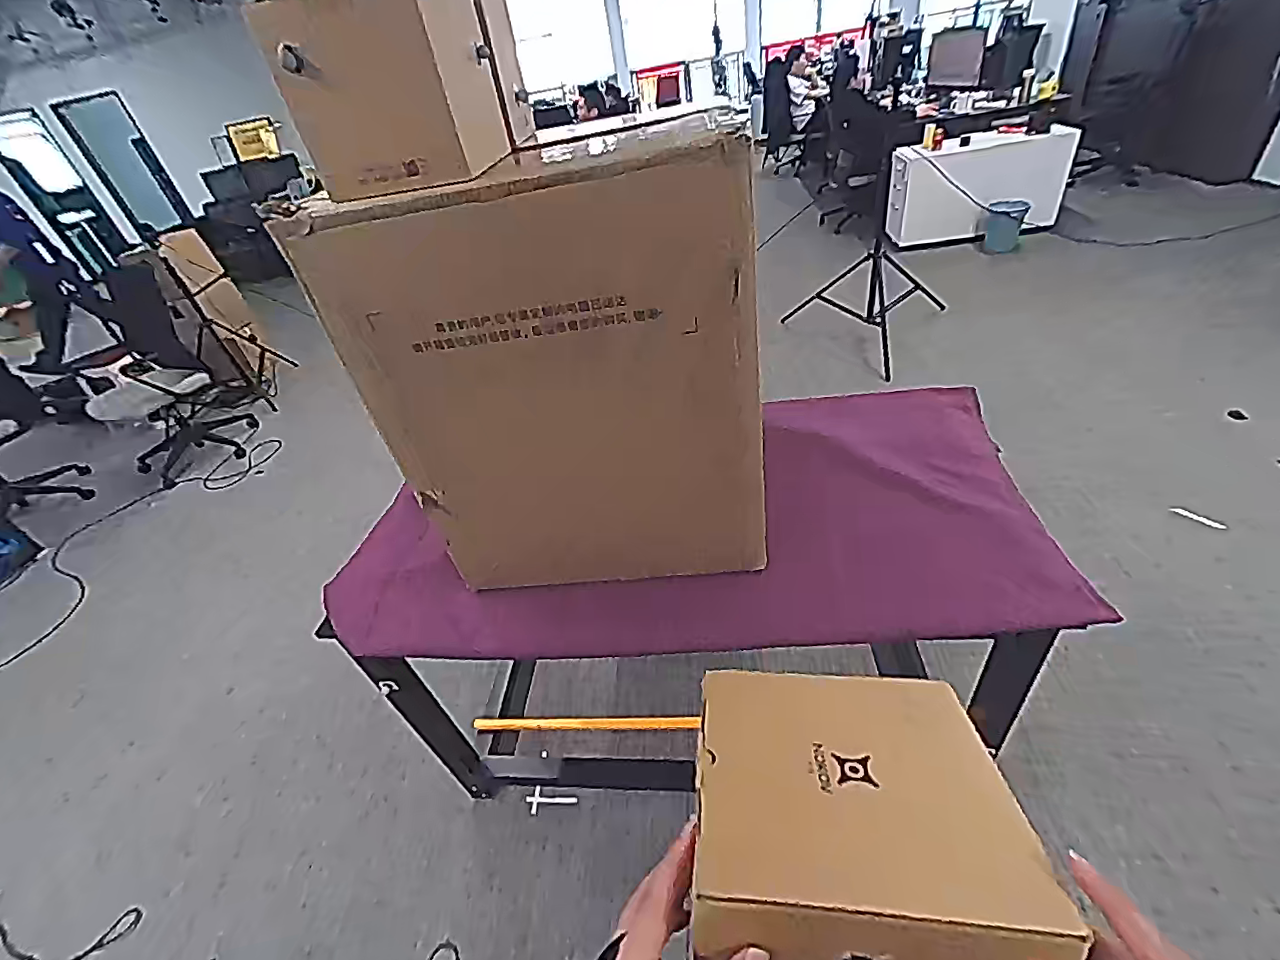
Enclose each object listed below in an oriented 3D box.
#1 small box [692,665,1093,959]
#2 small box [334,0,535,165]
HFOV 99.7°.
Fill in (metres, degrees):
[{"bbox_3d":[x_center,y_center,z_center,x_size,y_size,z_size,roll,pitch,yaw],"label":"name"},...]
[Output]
[{"bbox_3d":[0.126,0.244,0.344,0.179,0.176,0.168,-1,19,9],"label":"small box"},{"bbox_3d":[-0.258,-0.540,0.729,0.179,0.176,0.168,-6,39,5],"label":"small box"}]
